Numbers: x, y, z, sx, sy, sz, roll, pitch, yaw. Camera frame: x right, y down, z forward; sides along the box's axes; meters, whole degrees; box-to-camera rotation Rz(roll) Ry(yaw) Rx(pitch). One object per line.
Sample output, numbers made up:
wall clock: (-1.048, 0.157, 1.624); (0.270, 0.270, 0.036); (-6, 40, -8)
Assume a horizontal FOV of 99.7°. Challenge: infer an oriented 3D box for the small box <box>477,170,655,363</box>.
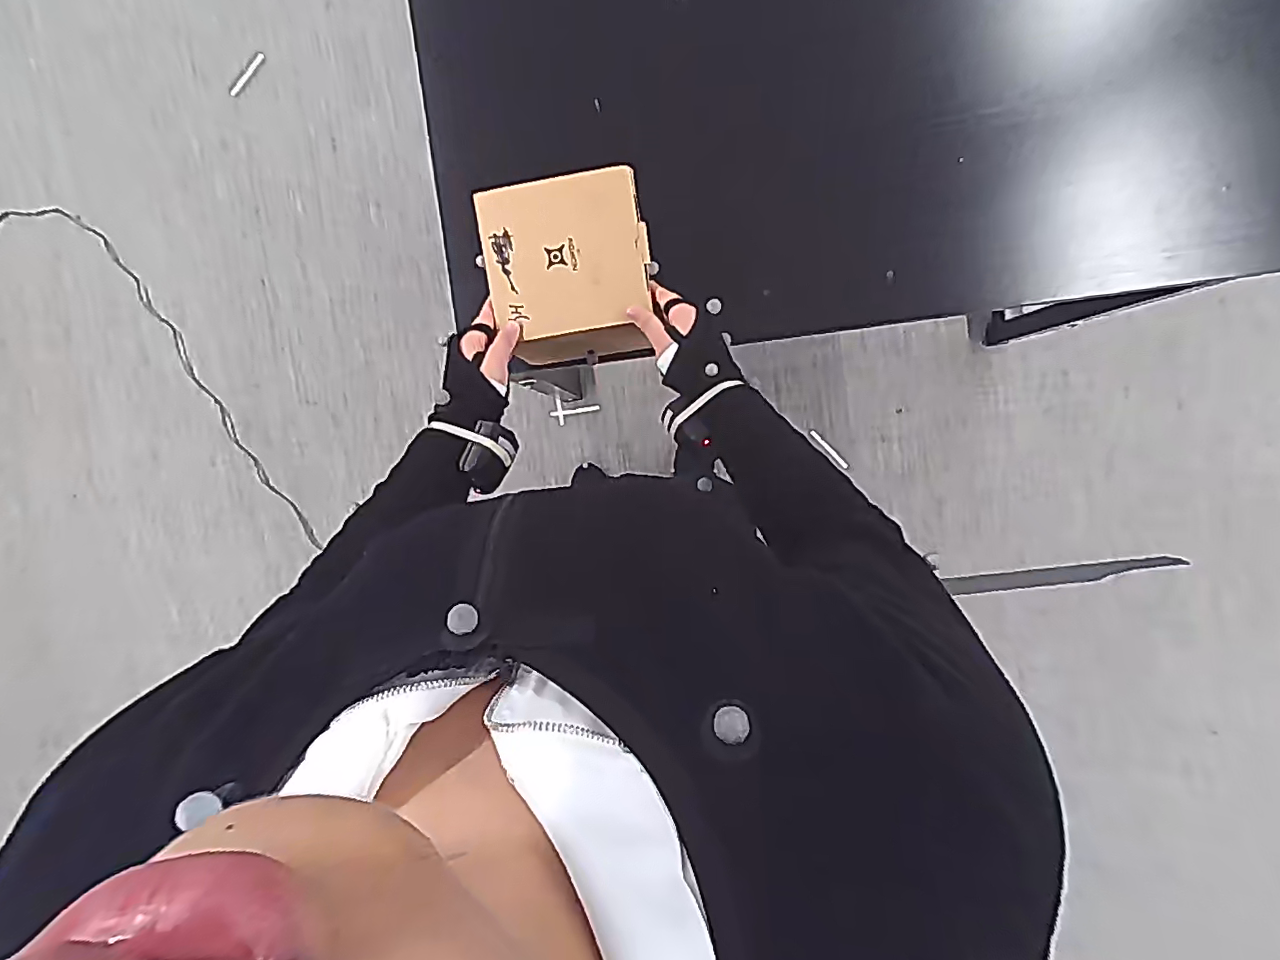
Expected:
small box: (-0.080, -0.247, 0.666); (0.179, 0.176, 0.168); (-8, 93, 1)
